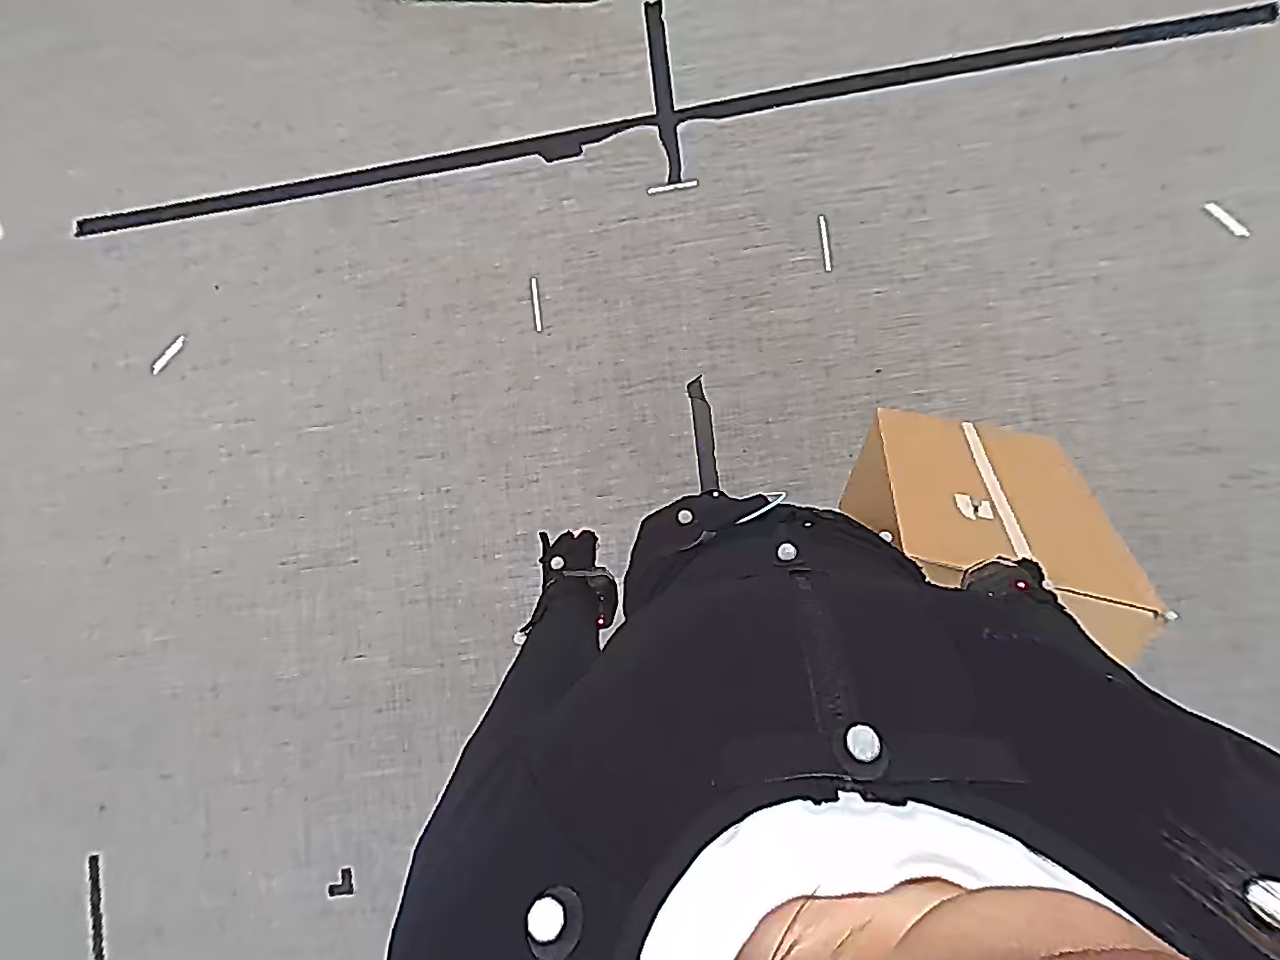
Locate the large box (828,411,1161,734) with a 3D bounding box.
[{"bbox_3d":[0.524,0.136,0.924,0.320,0.408,0.320,12,130,9],"label":"large box"}]
